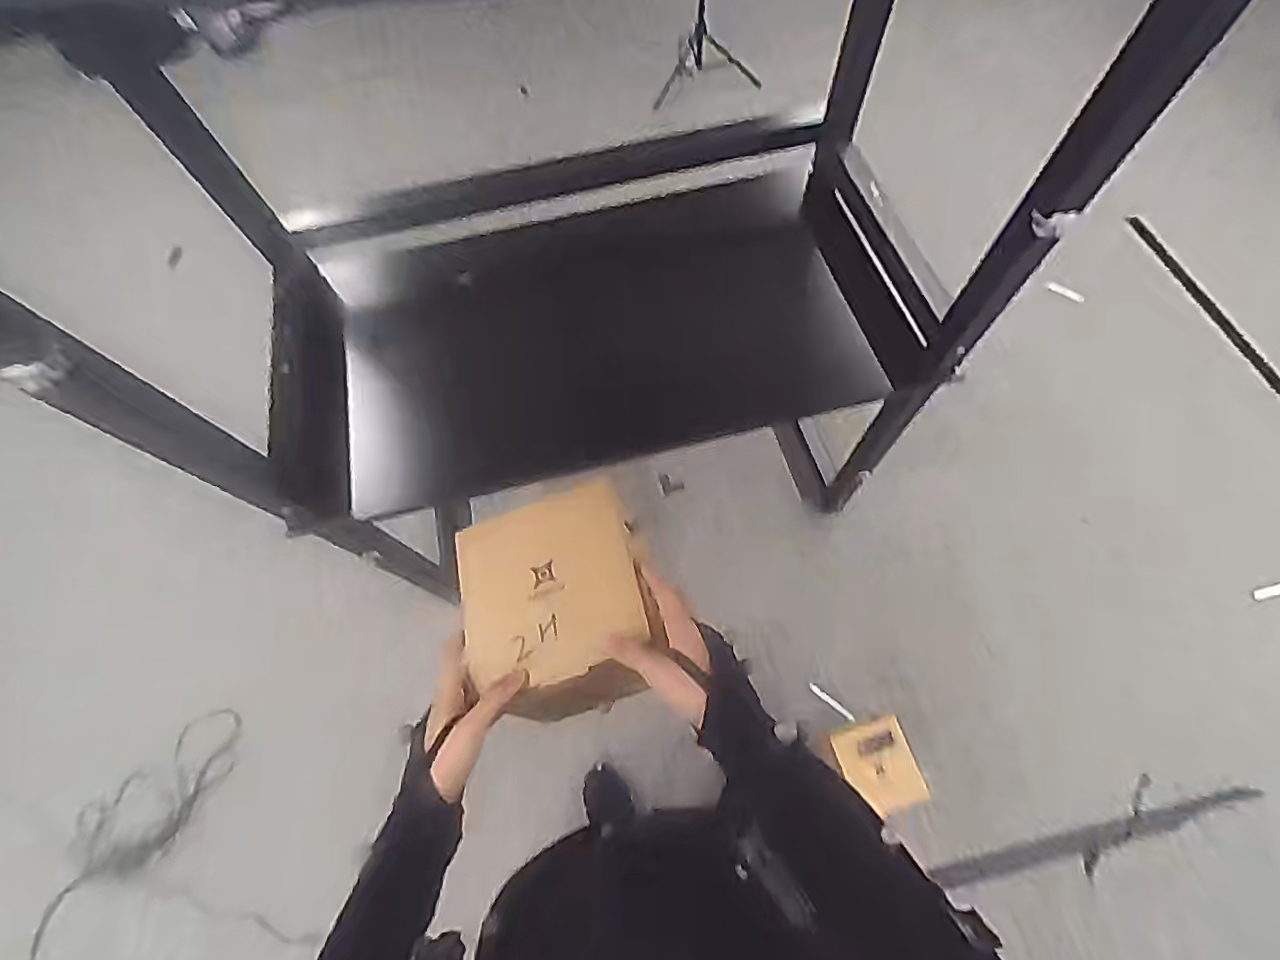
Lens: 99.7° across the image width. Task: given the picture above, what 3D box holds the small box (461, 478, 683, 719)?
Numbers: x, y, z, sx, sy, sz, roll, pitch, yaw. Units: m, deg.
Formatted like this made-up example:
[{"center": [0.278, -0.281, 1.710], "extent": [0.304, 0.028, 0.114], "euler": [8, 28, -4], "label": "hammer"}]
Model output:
[{"center": [-0.065, 0.131, 0.564], "extent": [0.168, 0.176, 0.179], "euler": [-20, 59, 4], "label": "small box"}]
